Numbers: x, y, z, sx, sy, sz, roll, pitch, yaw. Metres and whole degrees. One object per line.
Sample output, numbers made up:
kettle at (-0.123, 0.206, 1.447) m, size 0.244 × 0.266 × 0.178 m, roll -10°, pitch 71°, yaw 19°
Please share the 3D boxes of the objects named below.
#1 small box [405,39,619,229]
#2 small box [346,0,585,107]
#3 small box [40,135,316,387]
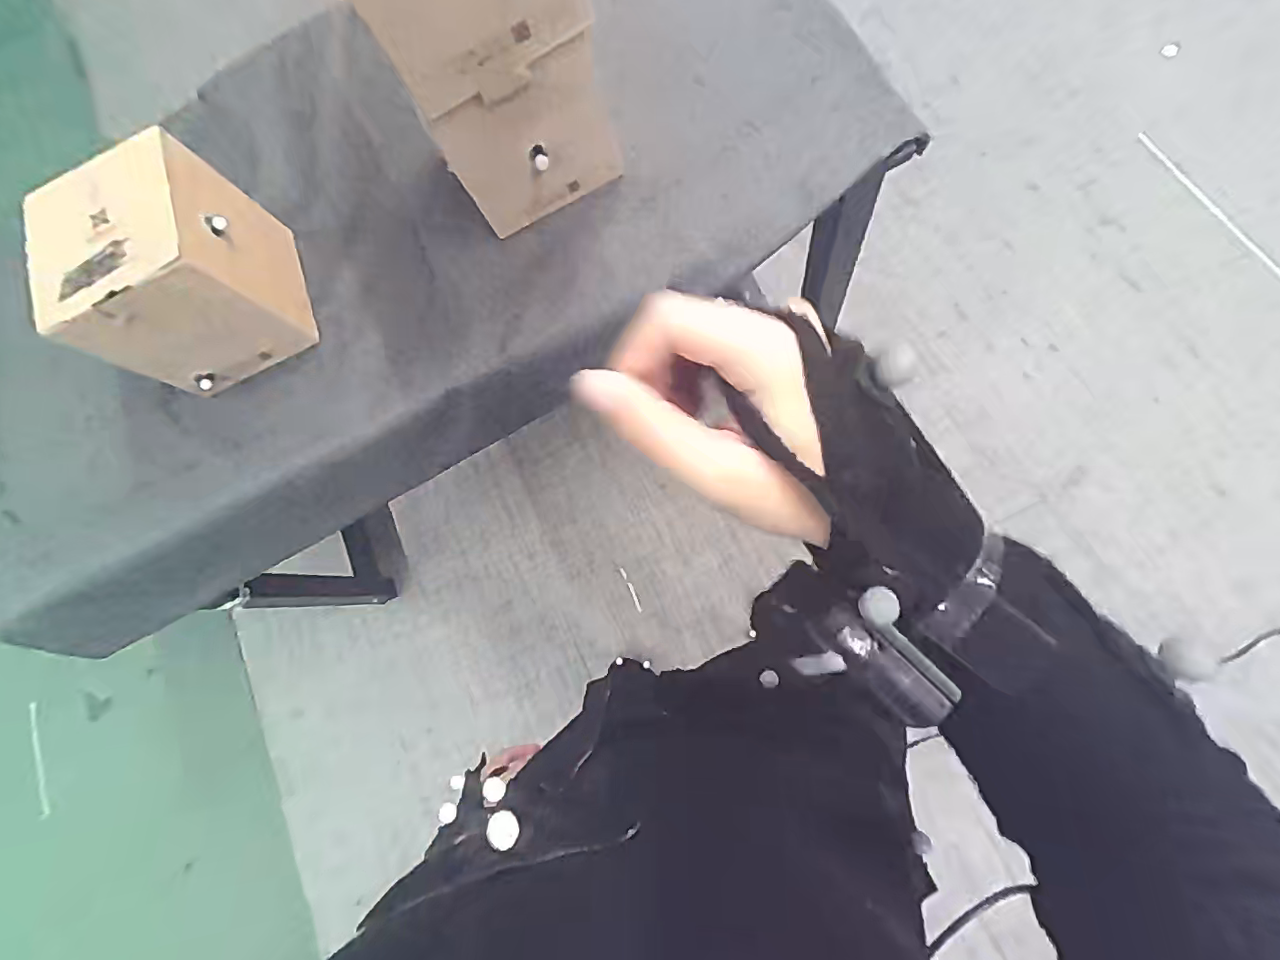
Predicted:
small box at (-0.139, -0.404, 0.578) m, size 0.168 × 0.176 × 0.179 m, roll -26°, pitch 75°, yaw 4°
small box at (-0.161, -0.437, 0.420) m, size 0.168 × 0.176 × 0.179 m, roll -26°, pitch 73°, yaw 4°
small box at (-0.503, -0.225, 0.608) m, size 0.168 × 0.176 × 0.179 m, roll -24°, pitch 73°, yaw 5°
